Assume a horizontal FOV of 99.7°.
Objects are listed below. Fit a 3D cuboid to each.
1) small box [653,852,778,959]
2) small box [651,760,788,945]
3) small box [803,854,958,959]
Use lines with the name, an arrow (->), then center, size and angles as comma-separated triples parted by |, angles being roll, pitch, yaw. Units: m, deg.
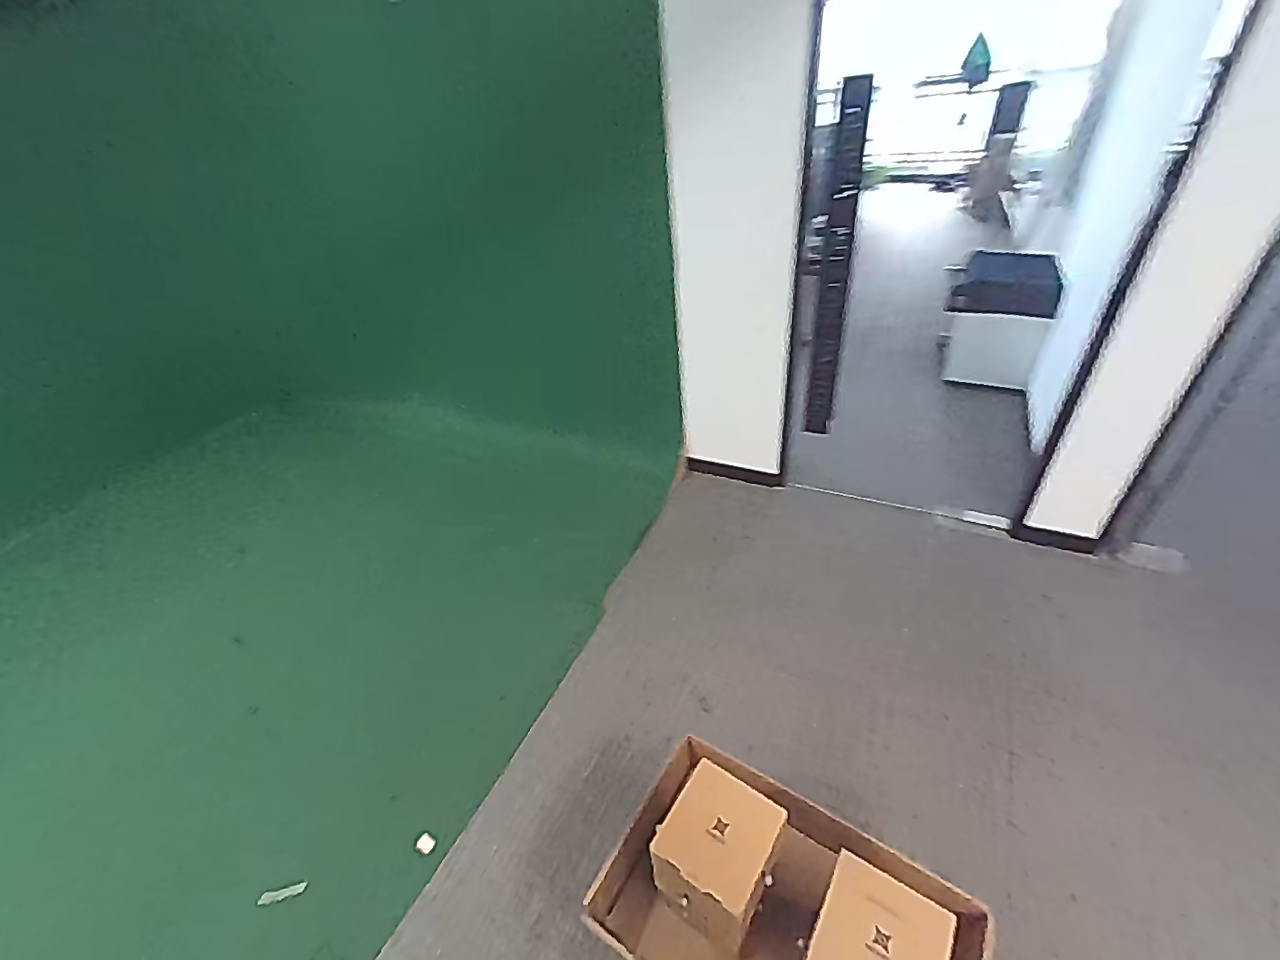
small box -> 0.144, 0.759, 1.032 | 0.179, 0.176, 0.168 | 21, 45, 30
small box -> 0.133, 0.634, 0.925 | 0.168, 0.176, 0.179 | 22, 46, 30
small box -> 0.339, 0.711, 0.794 | 0.168, 0.176, 0.179 | 20, 44, 29
